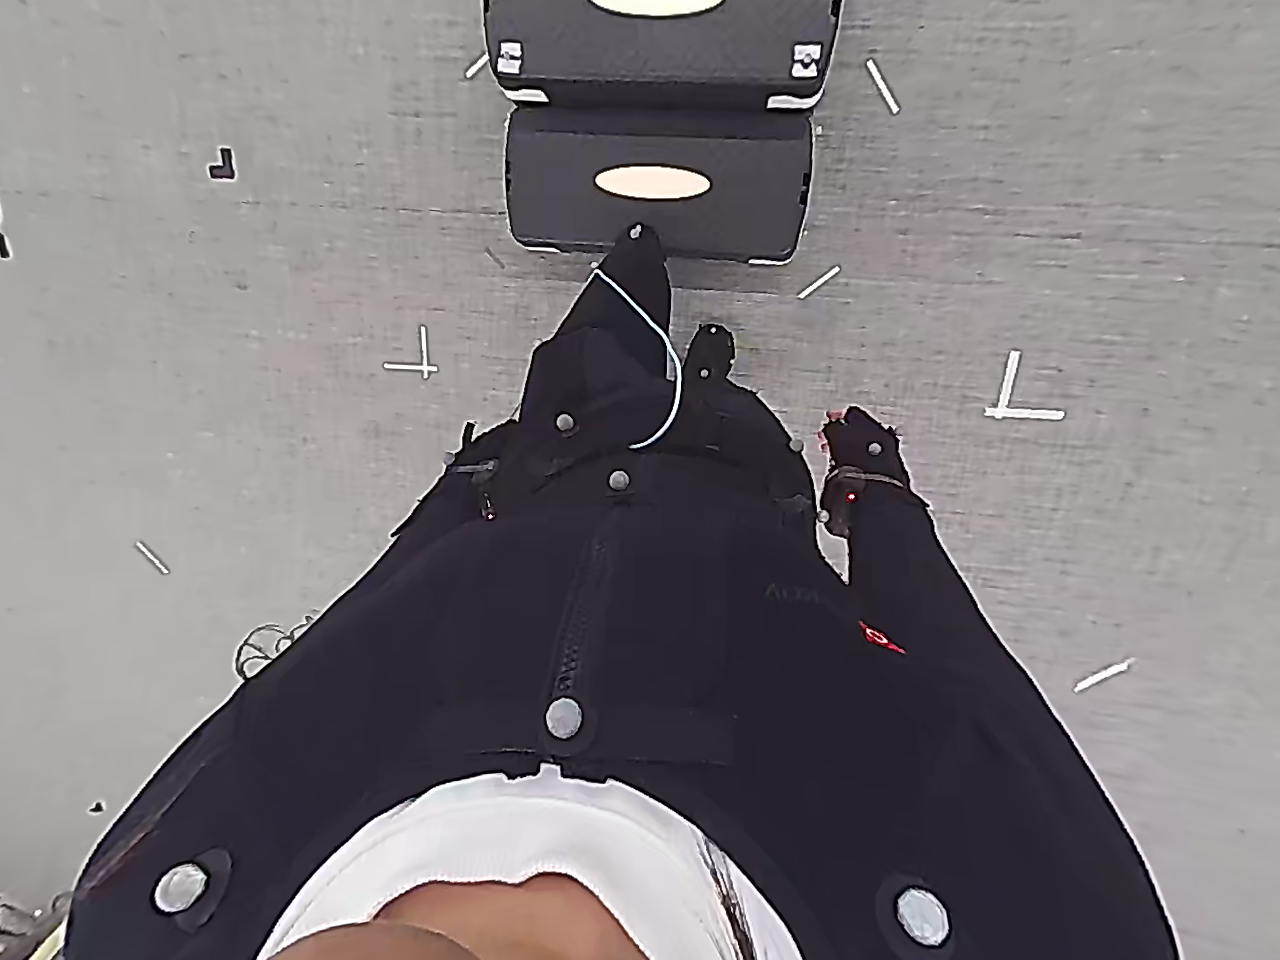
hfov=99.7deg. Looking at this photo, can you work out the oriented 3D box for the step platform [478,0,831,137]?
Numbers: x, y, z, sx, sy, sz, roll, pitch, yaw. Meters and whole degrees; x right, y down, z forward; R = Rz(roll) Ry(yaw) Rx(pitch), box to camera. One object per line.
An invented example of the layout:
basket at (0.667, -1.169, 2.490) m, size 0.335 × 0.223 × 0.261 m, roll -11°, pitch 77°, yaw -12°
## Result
step platform at (0.024, -0.885, 1.090) m, size 0.684 × 0.204 × 0.286 m, roll 5°, pitch 109°, yaw 6°
